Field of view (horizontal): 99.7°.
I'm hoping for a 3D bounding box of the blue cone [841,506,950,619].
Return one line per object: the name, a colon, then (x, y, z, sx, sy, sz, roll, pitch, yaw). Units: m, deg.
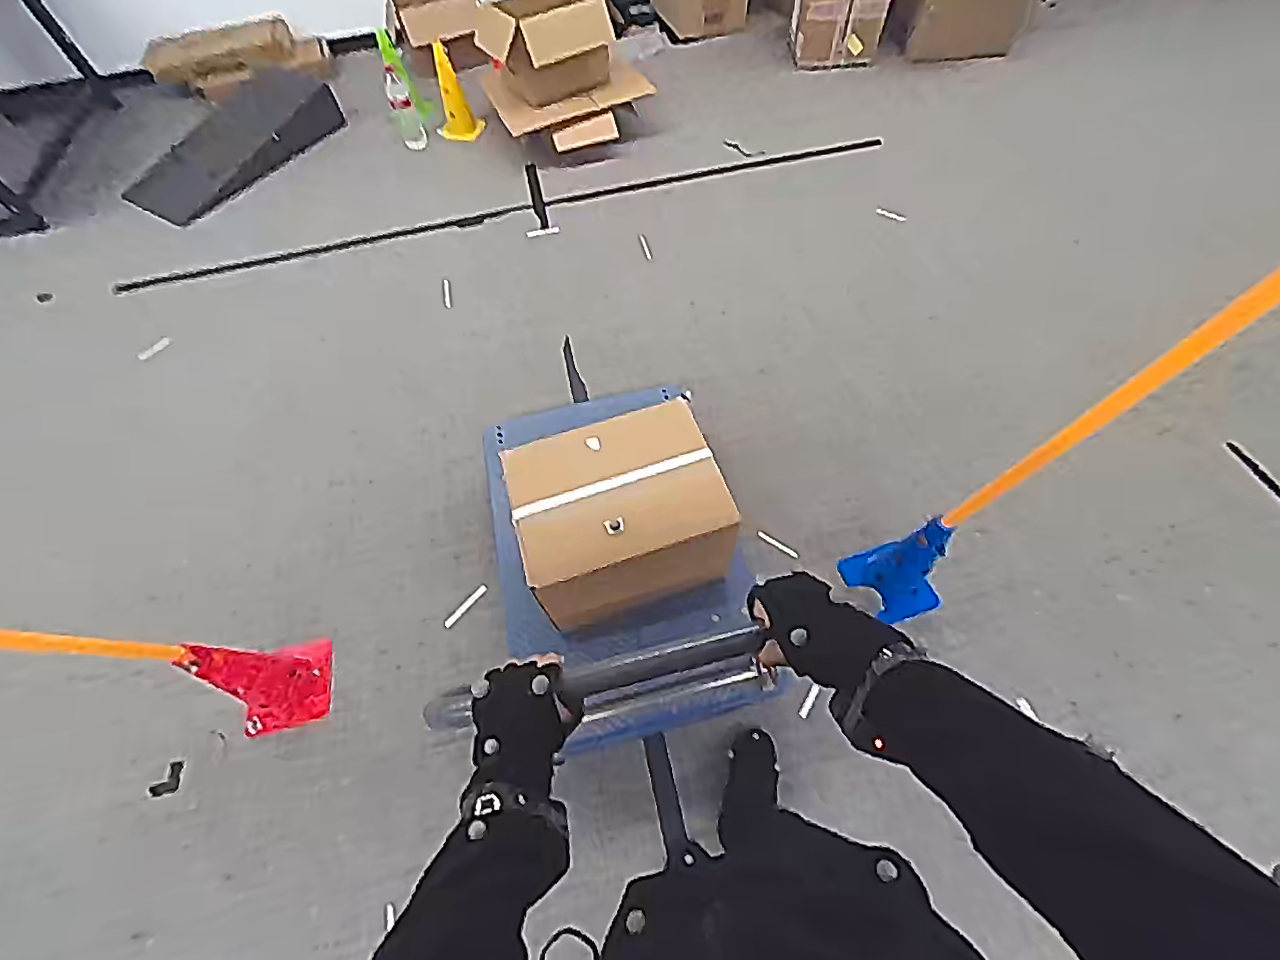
blue cone: (0.640, 0.174, 1.276, 0.193, 0.380, 0.192, -16, 59, -7)
